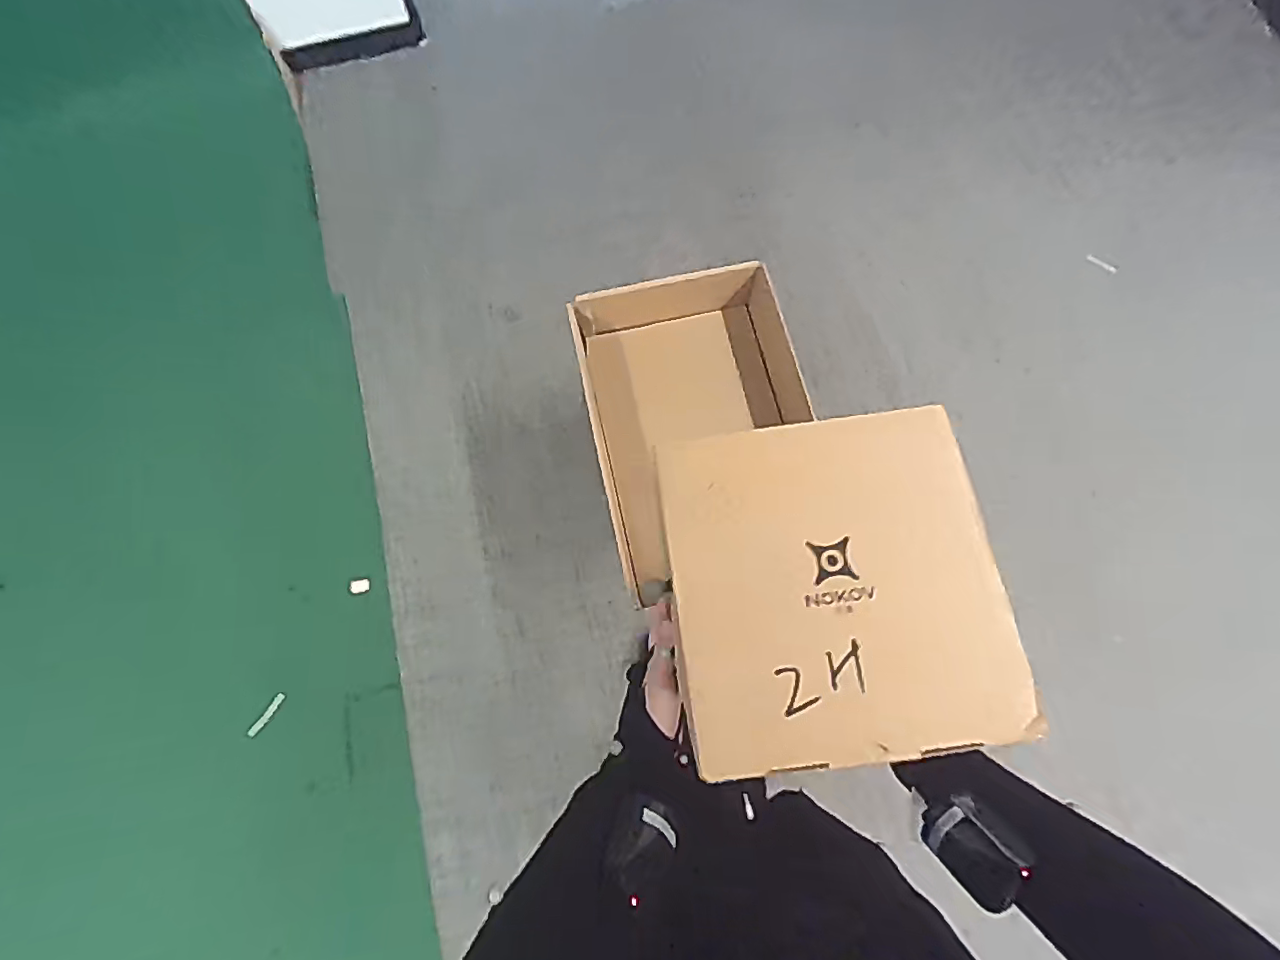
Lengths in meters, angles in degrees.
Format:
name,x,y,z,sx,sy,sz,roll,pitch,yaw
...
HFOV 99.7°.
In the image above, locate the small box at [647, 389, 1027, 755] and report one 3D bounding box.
name,x,y,z,sx,sy,sz,roll,pitch,yaw
small box,0.098,0.064,0.358,0.168,0.176,0.179,-9,73,2
